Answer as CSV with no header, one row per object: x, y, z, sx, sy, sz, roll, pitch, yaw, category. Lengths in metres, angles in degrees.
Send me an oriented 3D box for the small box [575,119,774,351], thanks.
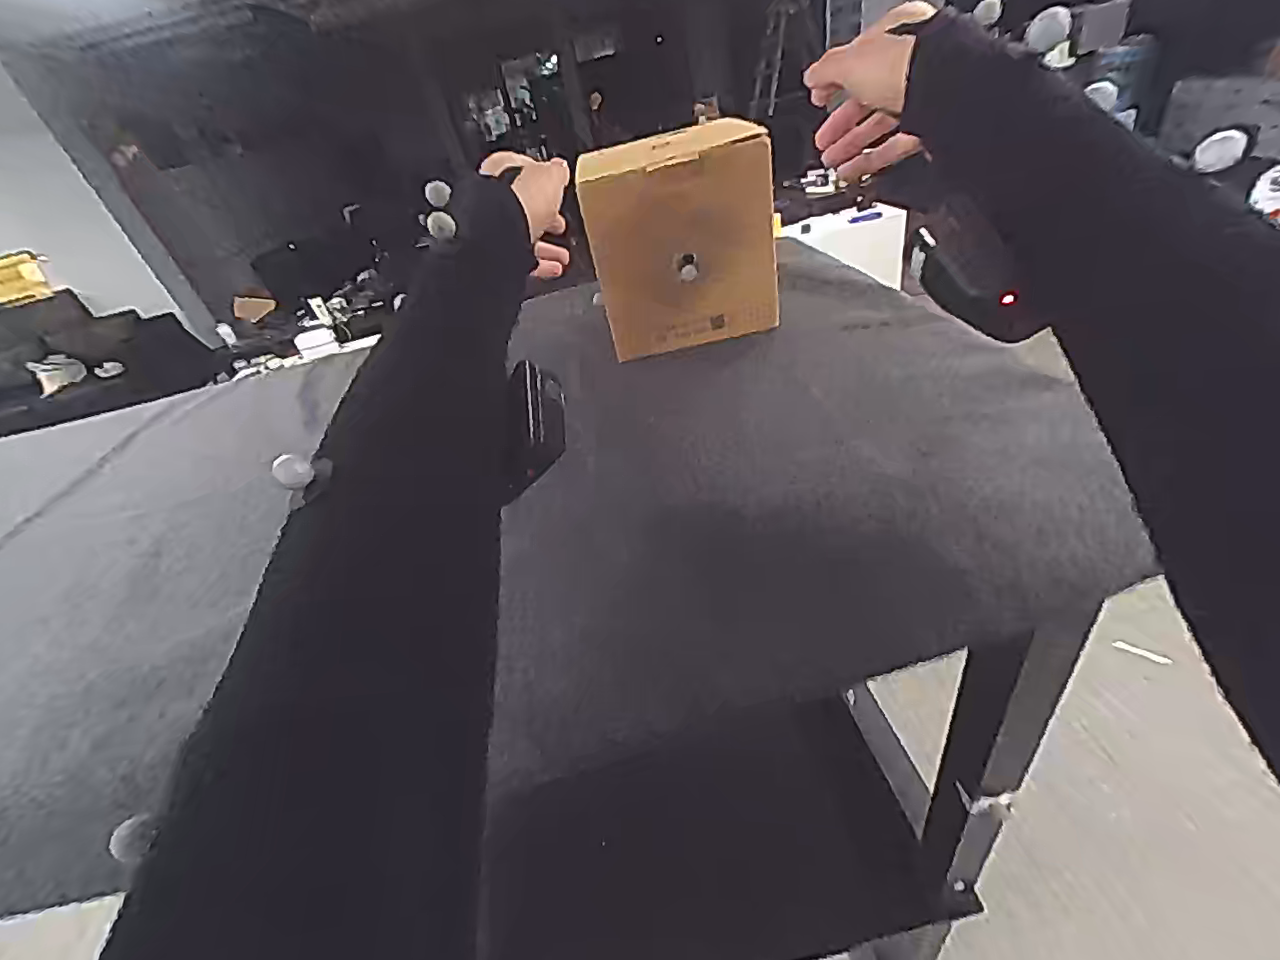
0.036,-0.247,0.560,0.168,0.176,0.179,-12,38,4,small box
